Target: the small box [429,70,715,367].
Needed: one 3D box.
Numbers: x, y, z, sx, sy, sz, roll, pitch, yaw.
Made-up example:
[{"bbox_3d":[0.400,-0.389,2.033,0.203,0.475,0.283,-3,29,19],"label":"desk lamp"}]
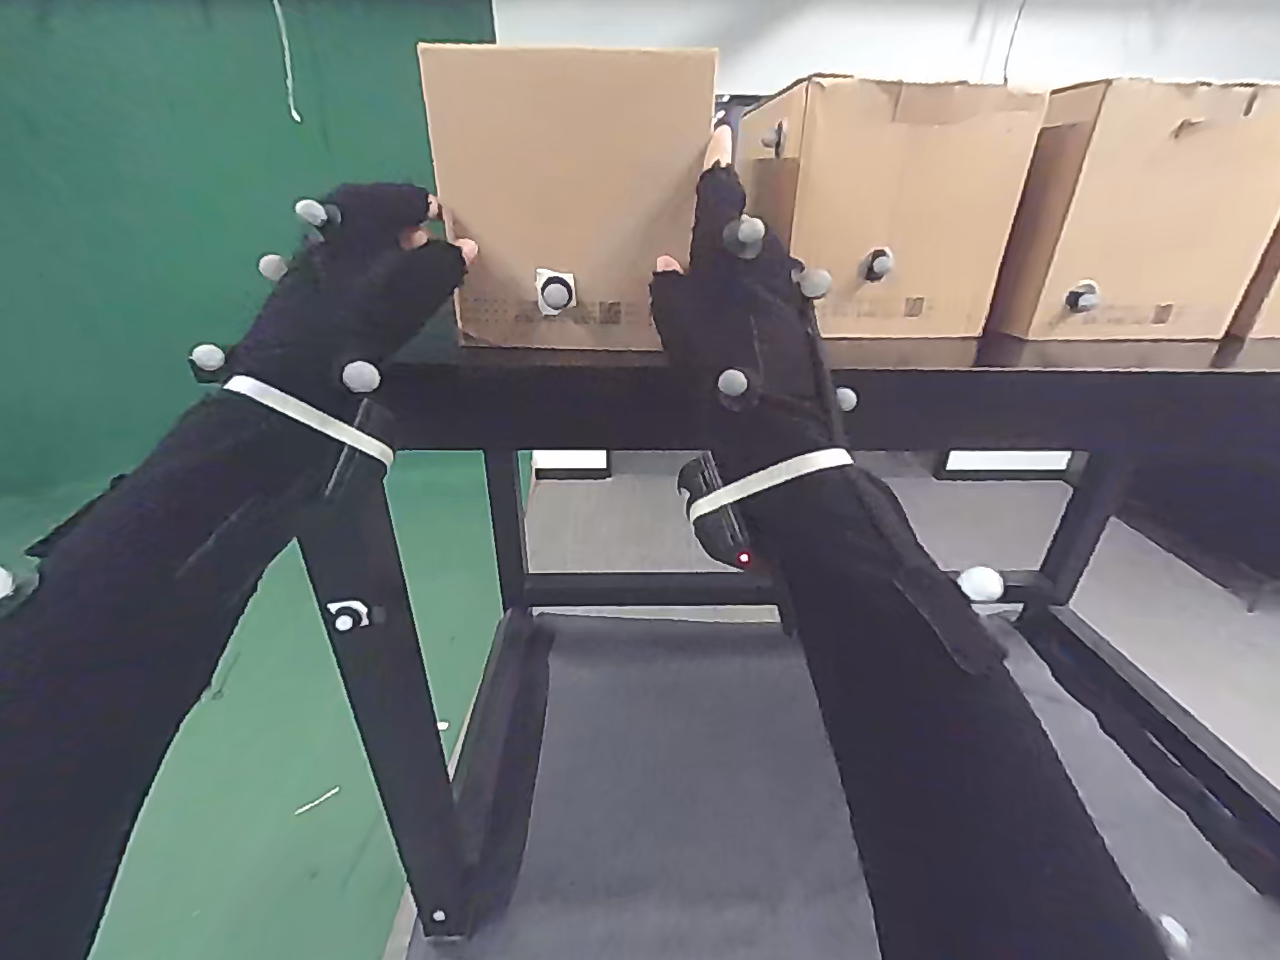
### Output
[{"bbox_3d":[-0.038,-0.191,0.412,0.168,0.176,0.179,-1,28,0],"label":"small box"}]
